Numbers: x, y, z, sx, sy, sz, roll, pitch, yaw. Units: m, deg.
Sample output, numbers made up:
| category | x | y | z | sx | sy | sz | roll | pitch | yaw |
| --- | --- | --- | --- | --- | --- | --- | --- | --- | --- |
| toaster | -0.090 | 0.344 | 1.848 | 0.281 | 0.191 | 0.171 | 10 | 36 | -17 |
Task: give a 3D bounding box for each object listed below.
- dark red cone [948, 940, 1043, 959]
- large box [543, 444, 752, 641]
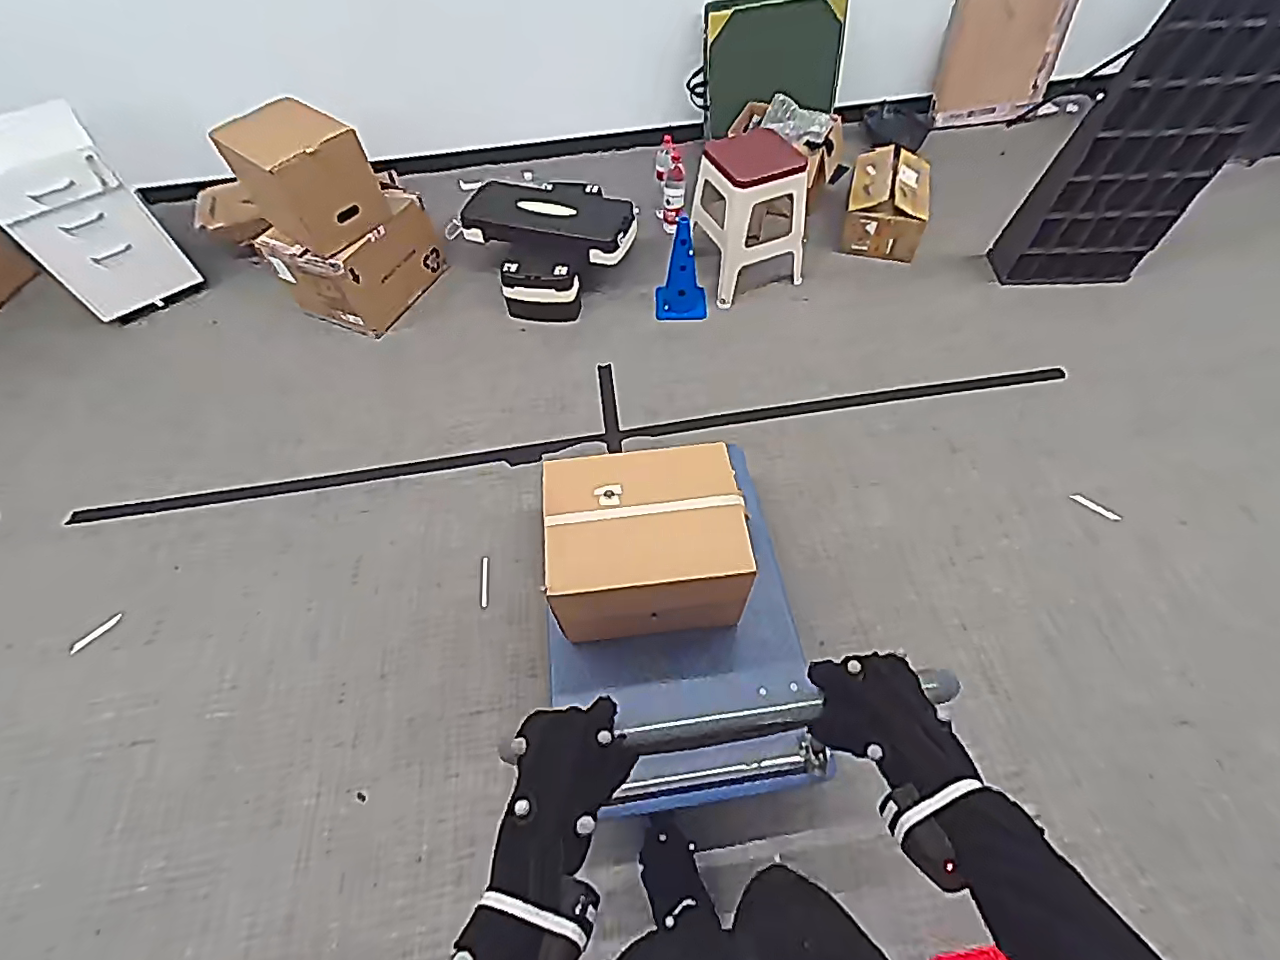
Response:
| category | x | y | z | sx | sy | sz | roll | pitch | yaw |
| --- | --- | --- | --- | --- | --- | --- | --- | --- | --- |
| dark red cone | 0.682 | 0.898 | 0.859 | 0.201 | 0.394 | 0.202 | -7 | 57 | -4 |
| large box | 0.011 | 0.152 | 1.236 | 0.408 | 0.320 | 0.320 | -7 | 57 | -1 |
